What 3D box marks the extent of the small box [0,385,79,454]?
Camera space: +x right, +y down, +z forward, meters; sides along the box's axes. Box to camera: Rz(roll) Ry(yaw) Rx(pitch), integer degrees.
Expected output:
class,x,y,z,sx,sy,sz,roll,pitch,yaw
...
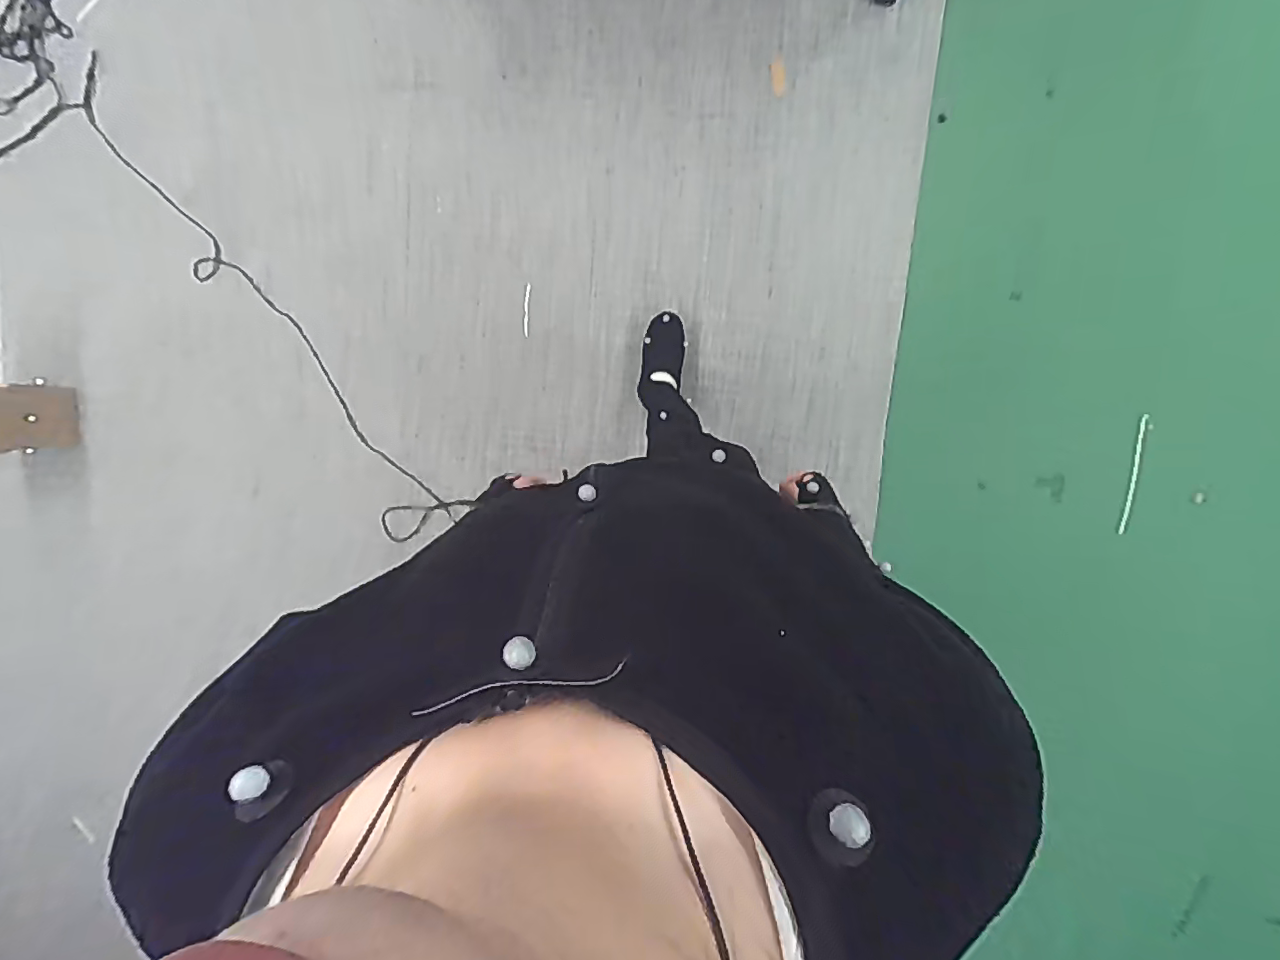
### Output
class,x,y,z,sx,sy,sz,roll,pitch,yaw
small box,-1.702,-0.168,1.484,0.168,0.176,0.179,4,95,2

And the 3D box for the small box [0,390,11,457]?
class,x,y,z,sx,sy,sz,roll,pitch,yaw
small box,-1.711,-0.142,1.322,0.168,0.176,0.179,4,95,1
